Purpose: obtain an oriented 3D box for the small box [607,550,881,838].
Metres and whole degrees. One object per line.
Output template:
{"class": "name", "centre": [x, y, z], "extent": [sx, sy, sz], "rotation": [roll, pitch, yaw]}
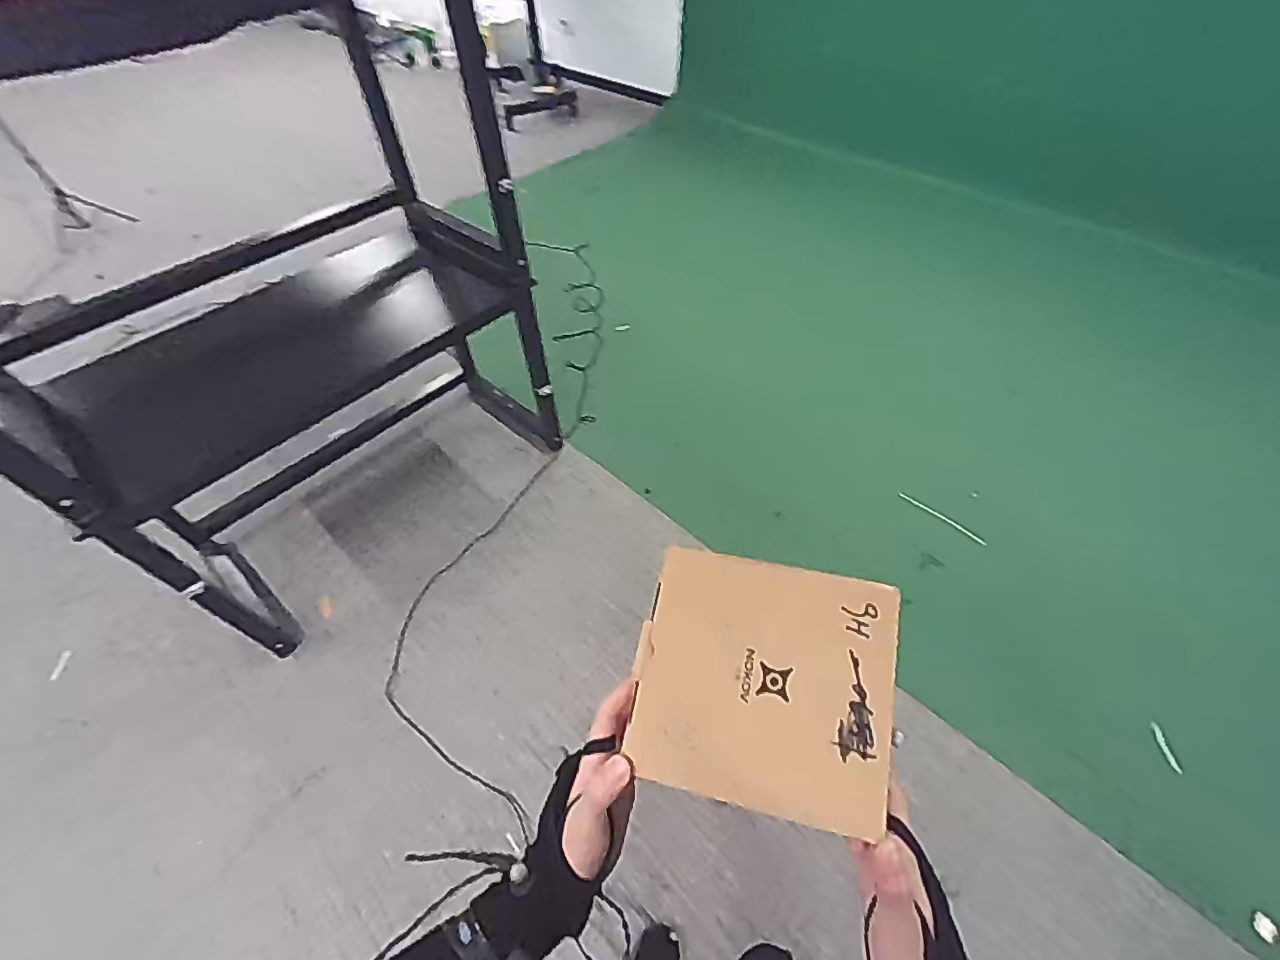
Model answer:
{"class": "small box", "centre": [0.091, 0.172, 0.459], "extent": [0.179, 0.176, 0.168], "rotation": [8, 69, 14]}
